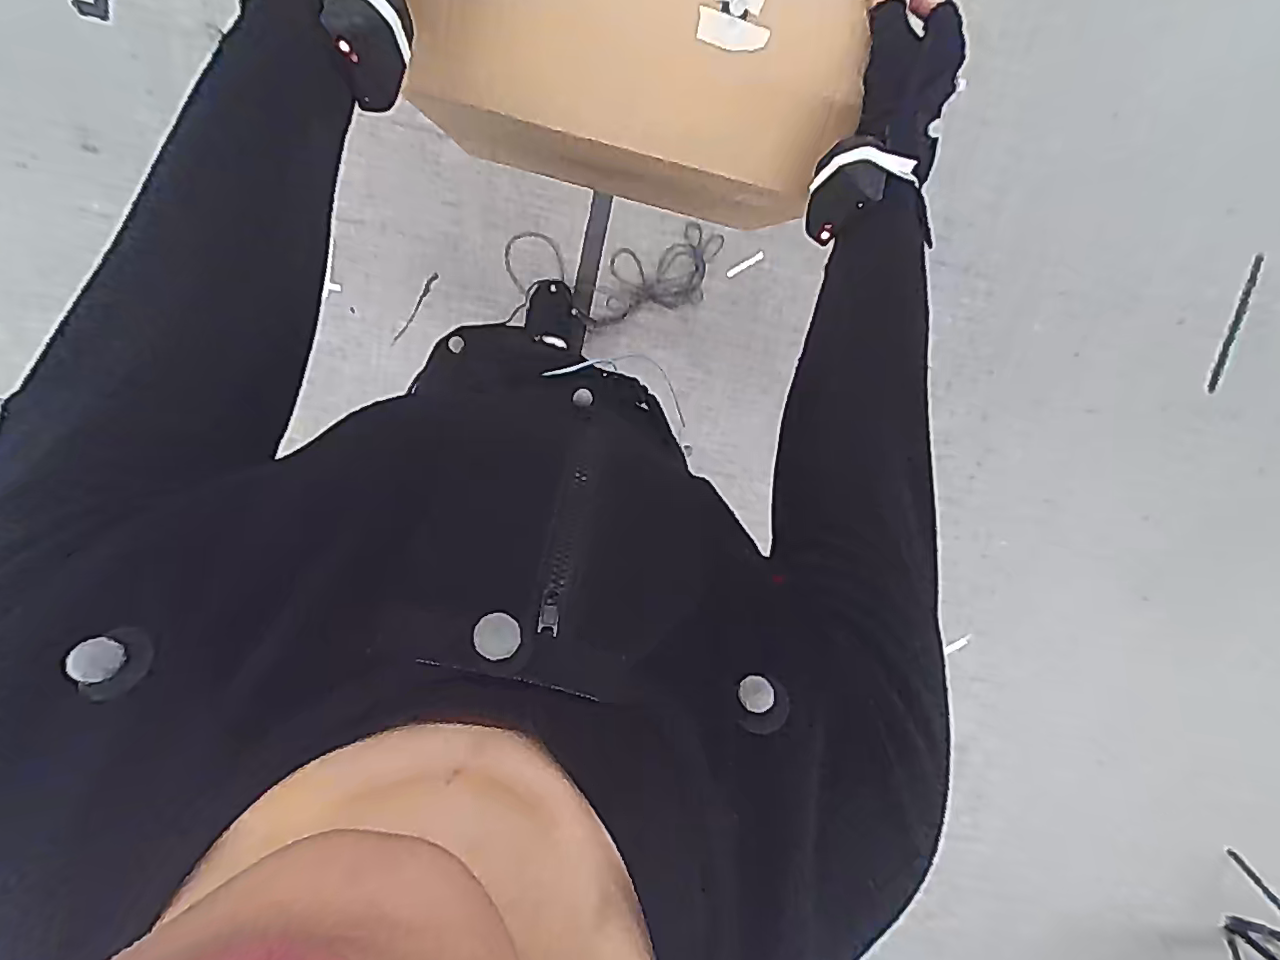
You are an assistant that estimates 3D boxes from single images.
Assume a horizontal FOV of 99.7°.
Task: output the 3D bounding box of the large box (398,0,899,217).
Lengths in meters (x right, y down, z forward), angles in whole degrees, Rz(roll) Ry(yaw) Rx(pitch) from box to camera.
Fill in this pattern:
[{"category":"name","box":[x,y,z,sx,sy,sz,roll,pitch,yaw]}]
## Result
[{"category":"large box","box":[0.013,-0.494,0.556,0.408,0.320,0.320,11,111,-9]}]
